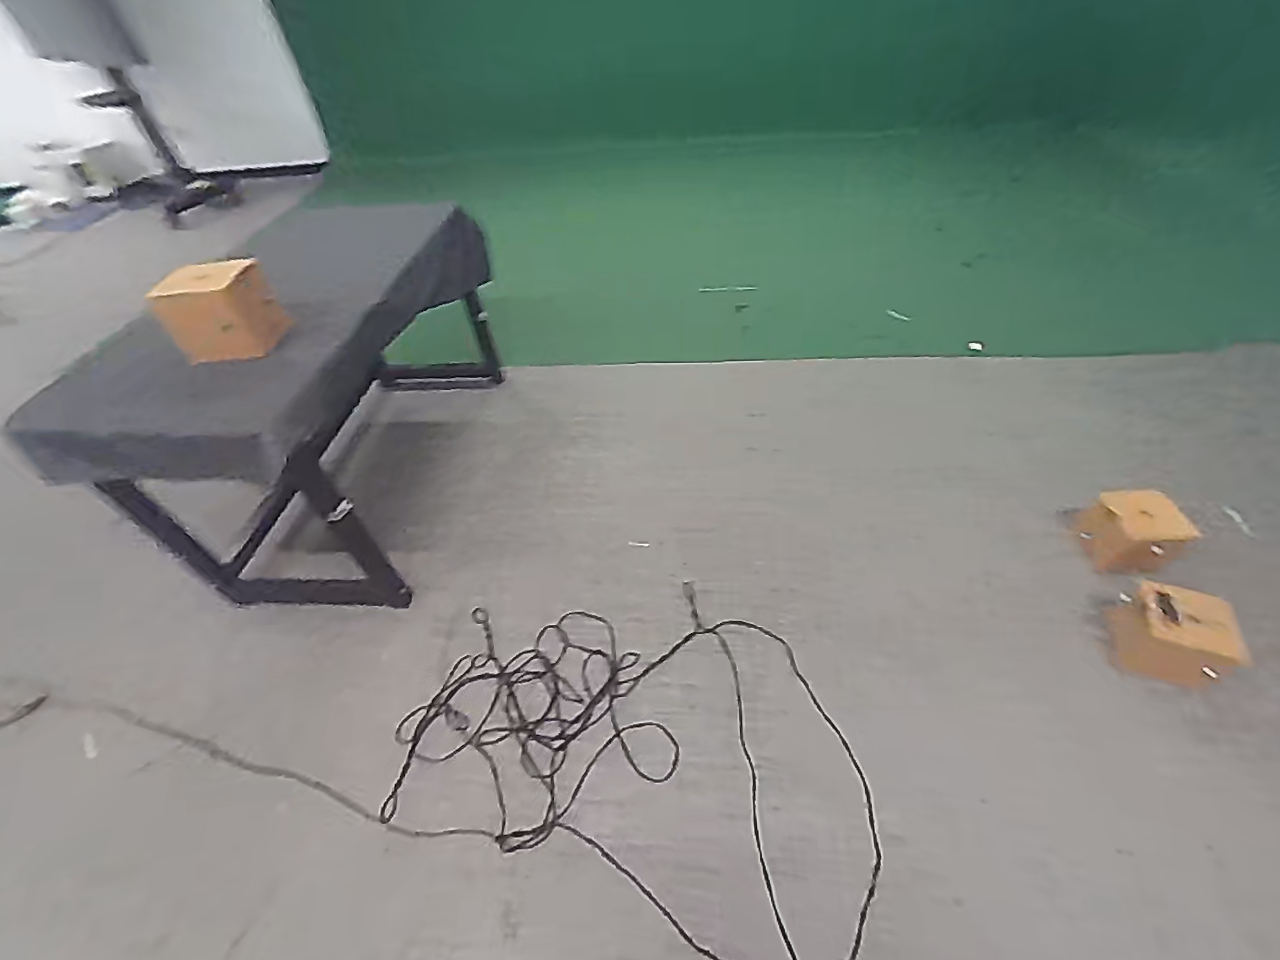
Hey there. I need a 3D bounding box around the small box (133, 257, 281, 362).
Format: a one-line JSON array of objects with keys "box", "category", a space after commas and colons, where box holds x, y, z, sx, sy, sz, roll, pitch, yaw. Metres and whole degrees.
[{"box": [-0.979, -0.391, 1.246, 0.179, 0.176, 0.168, -7, 44, 1], "category": "small box"}]

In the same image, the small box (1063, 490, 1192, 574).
[{"box": [1.343, 0.146, 1.505, 0.179, 0.176, 0.168, -4, 46, 3], "category": "small box"}]
